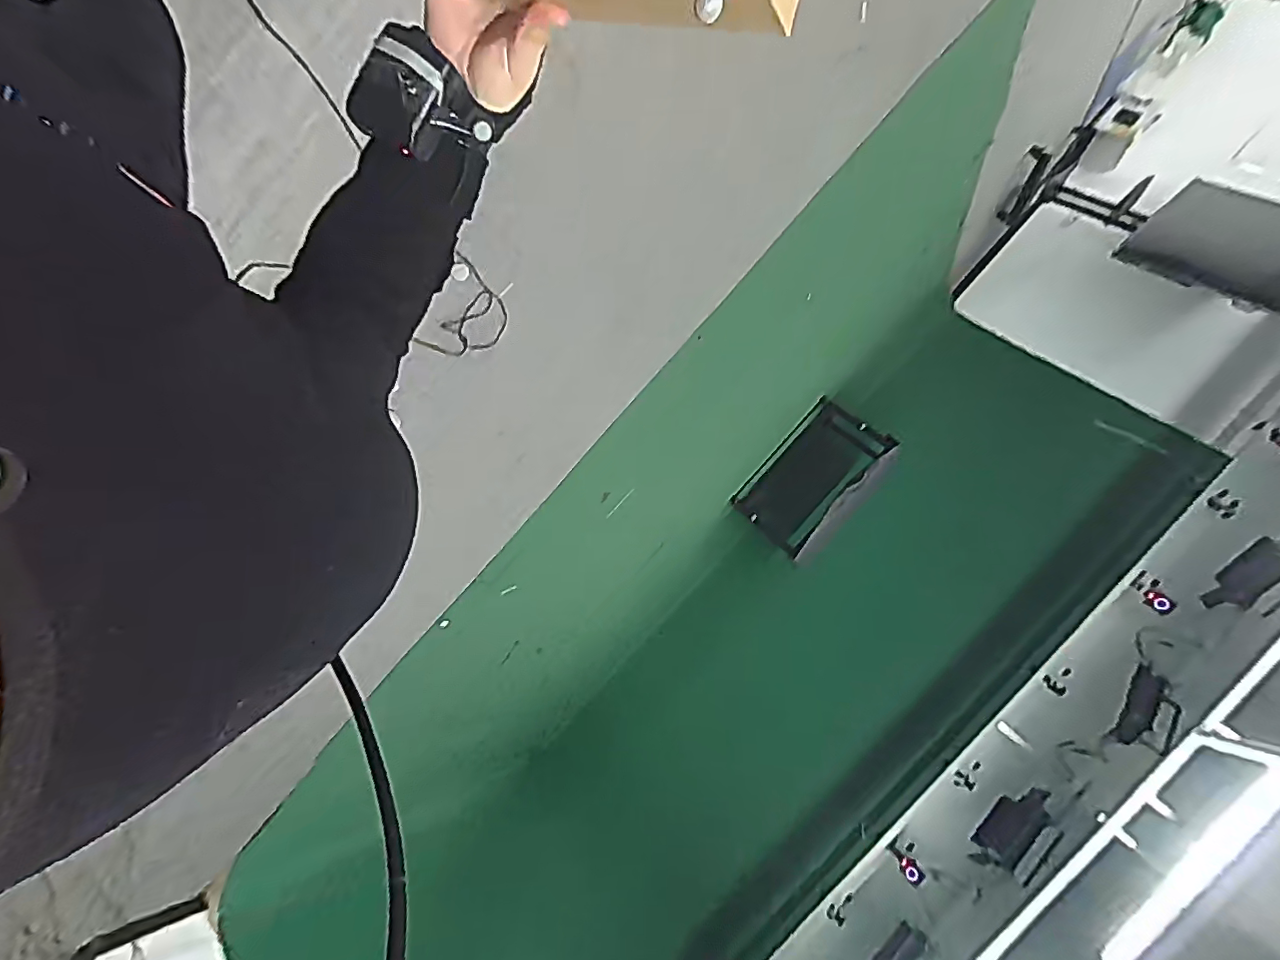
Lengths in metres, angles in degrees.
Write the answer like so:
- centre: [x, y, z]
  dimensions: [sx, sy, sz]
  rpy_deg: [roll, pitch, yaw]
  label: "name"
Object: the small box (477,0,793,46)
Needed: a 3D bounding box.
- centre: [-0.011, -0.312, 0.223]
  dimensions: [0.168, 0.176, 0.179]
  rpy_deg: [-52, 154, -56]
  label: "small box"
